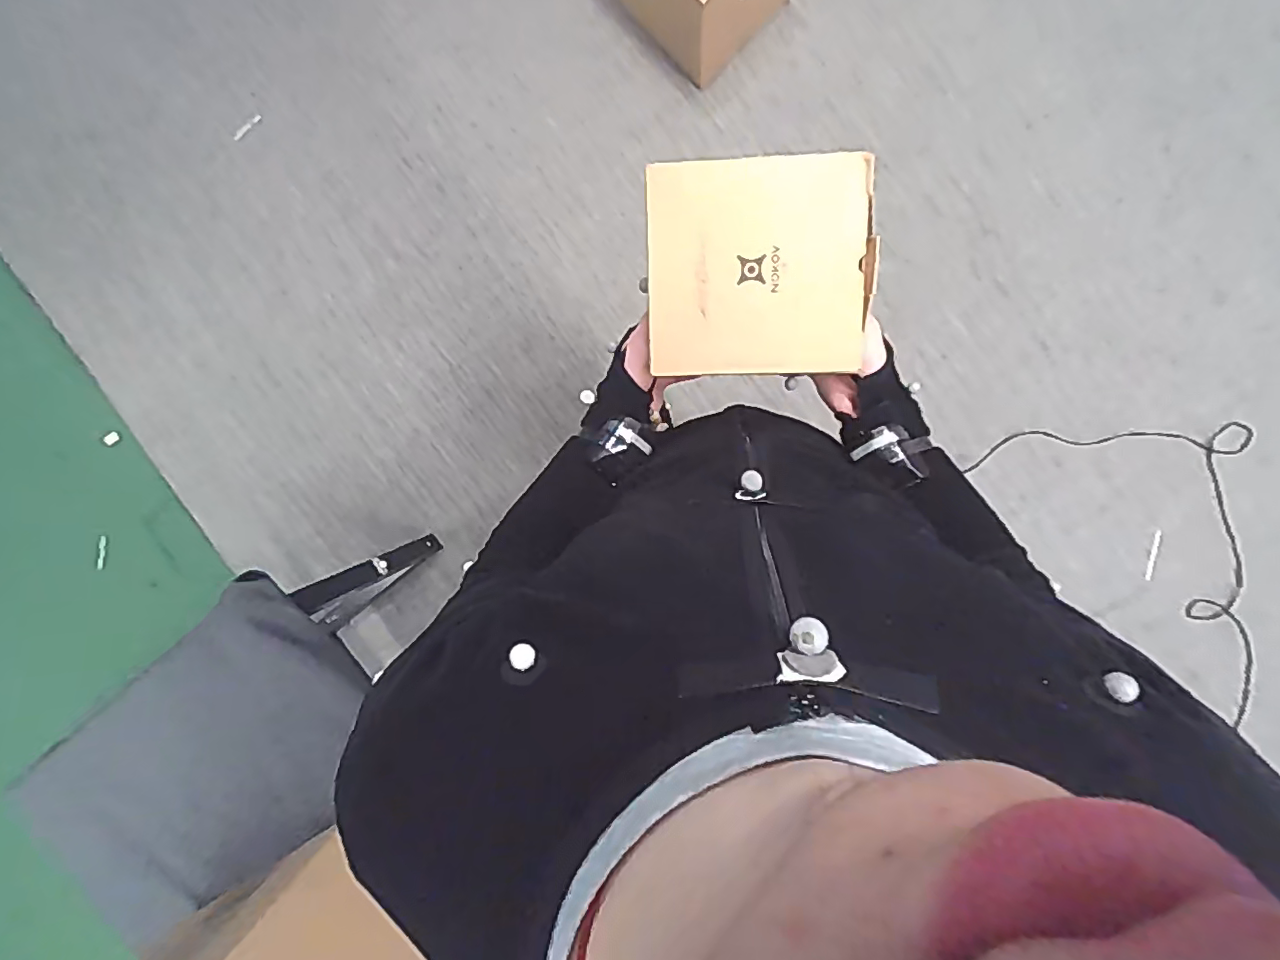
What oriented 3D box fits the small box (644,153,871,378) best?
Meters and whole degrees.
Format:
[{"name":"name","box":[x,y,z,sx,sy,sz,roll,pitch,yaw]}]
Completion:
[{"name":"small box","box":[0.099,-0.183,0.511,0.179,0.176,0.168,-1,100,7]}]
